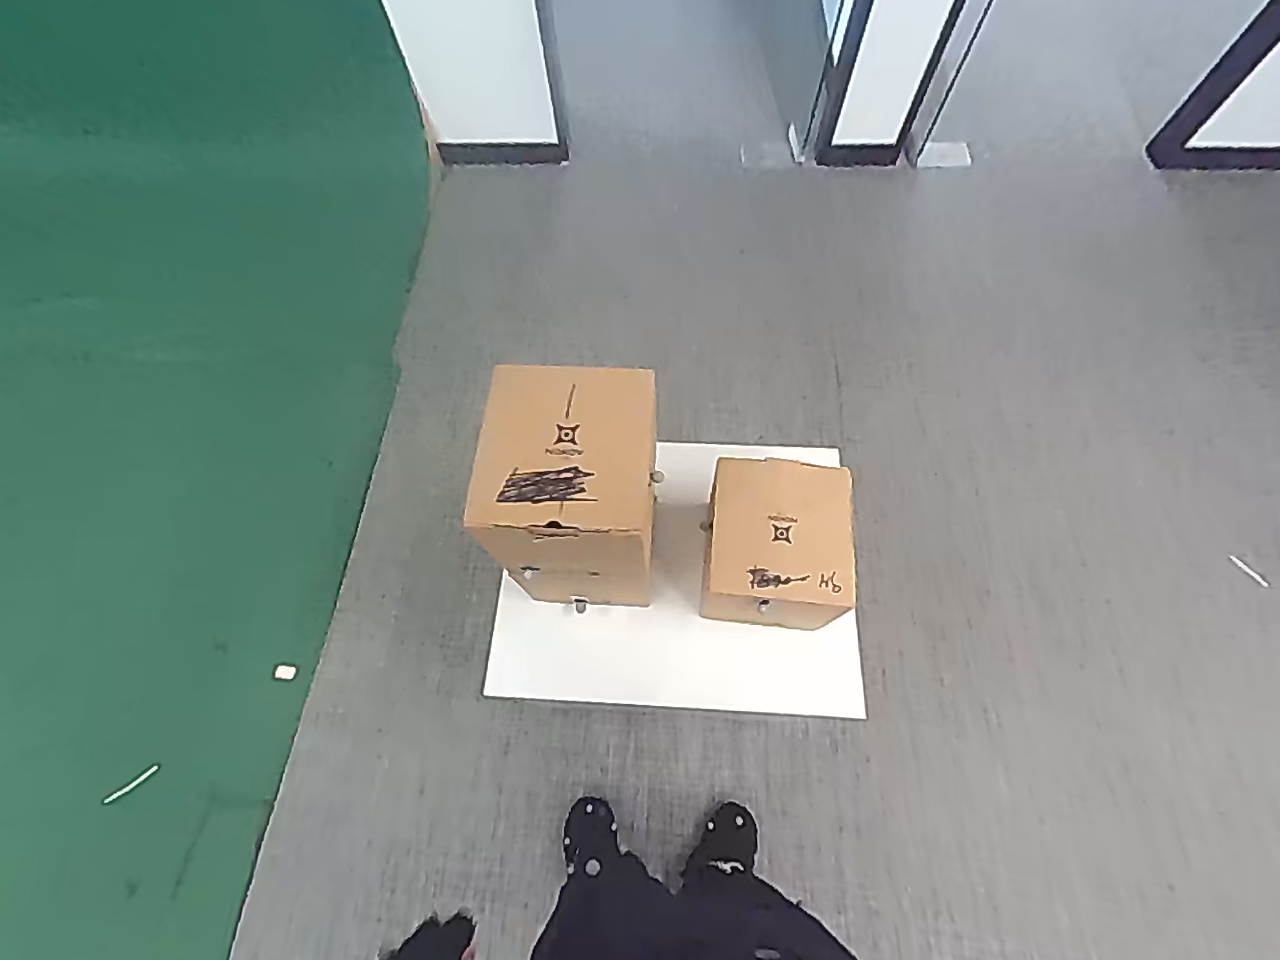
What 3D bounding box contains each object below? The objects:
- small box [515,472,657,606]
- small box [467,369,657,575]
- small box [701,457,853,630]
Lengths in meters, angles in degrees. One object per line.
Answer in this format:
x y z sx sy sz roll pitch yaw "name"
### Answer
-0.062 0.068 0.743 0.168 0.176 0.179 0 67 3 "small box"
-0.069 0.000 0.594 0.168 0.176 0.179 3 65 4 "small box"
0.173 0.089 0.722 0.168 0.176 0.179 6 66 5 "small box"
